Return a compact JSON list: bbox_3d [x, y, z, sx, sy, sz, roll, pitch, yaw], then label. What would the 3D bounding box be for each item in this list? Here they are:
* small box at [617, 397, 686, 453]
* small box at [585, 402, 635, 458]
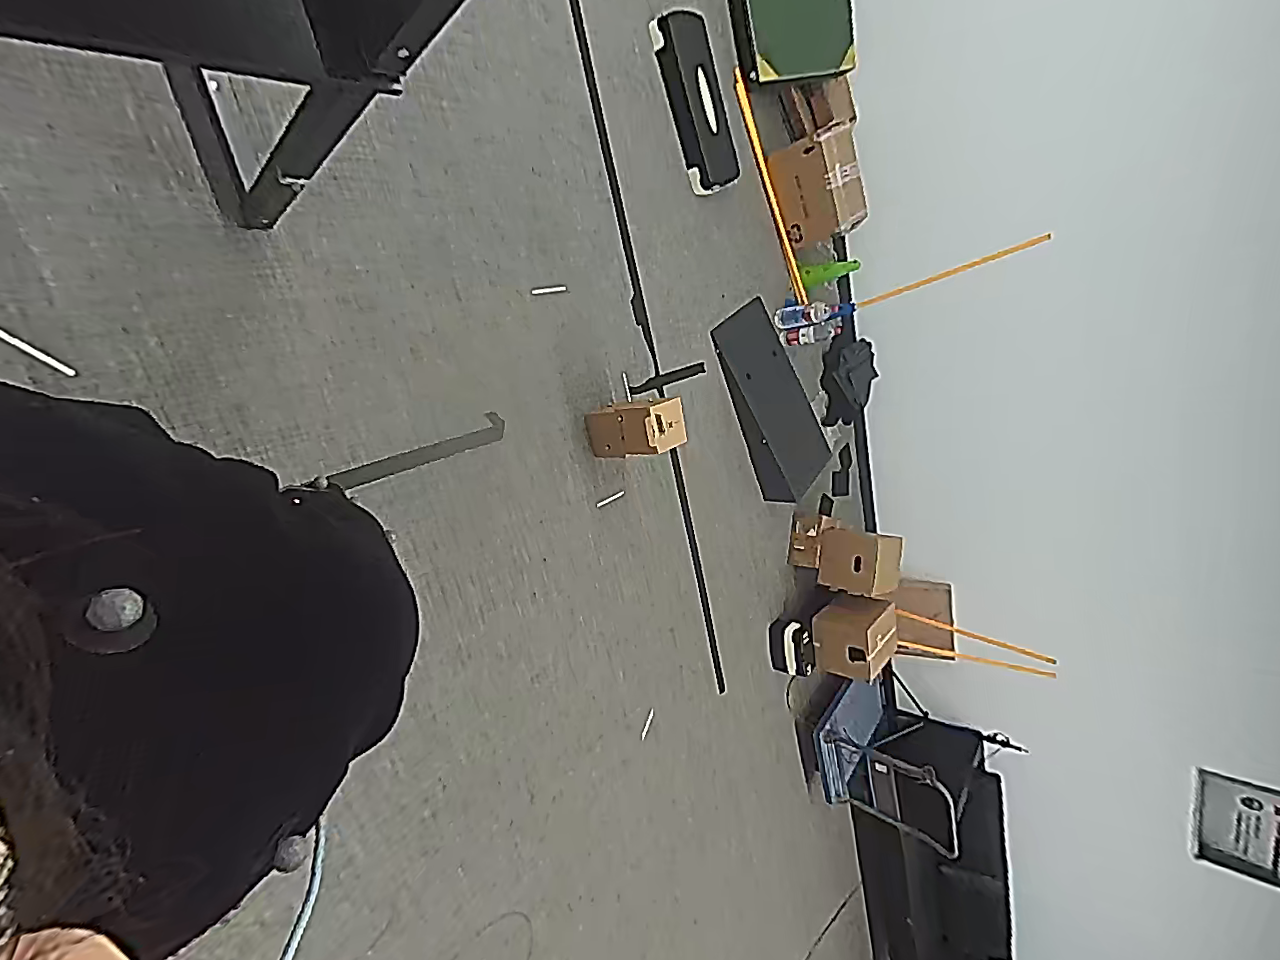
[{"bbox_3d":[0.036,-0.192,1.906,0.179,0.176,0.168,-26,111,-44],"label":"small box"},{"bbox_3d":[-0.079,-0.191,2.023,0.168,0.176,0.179,-29,112,-42],"label":"small box"}]
